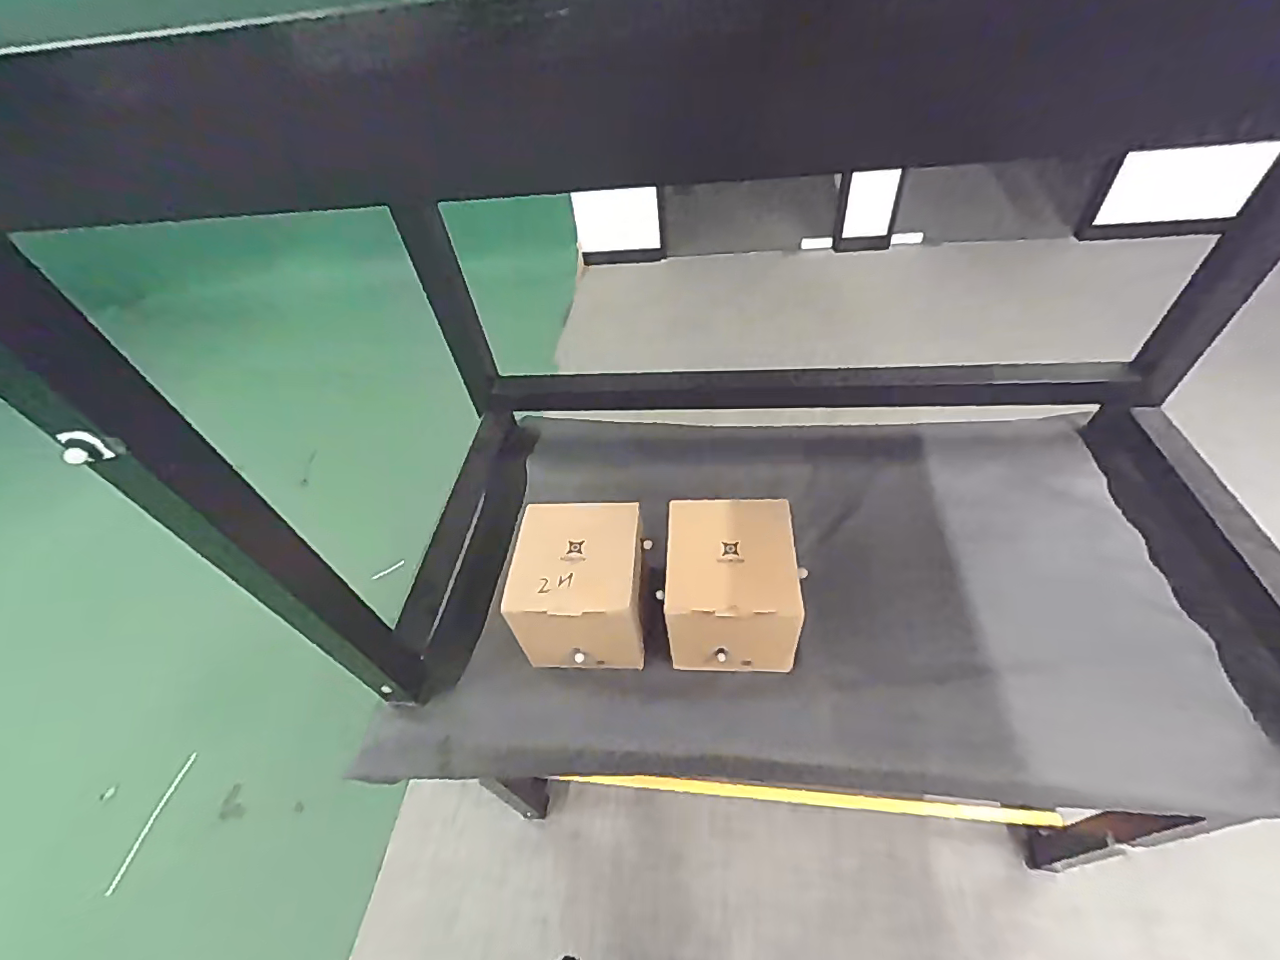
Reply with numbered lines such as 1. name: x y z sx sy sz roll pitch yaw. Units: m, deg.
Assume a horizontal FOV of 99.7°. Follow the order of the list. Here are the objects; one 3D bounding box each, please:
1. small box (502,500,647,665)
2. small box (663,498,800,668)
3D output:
1. small box: -0.080 0.146 0.781 0.168 0.176 0.179 -1 48 7
2. small box: 0.123 0.144 0.760 0.168 0.176 0.179 -1 48 7
